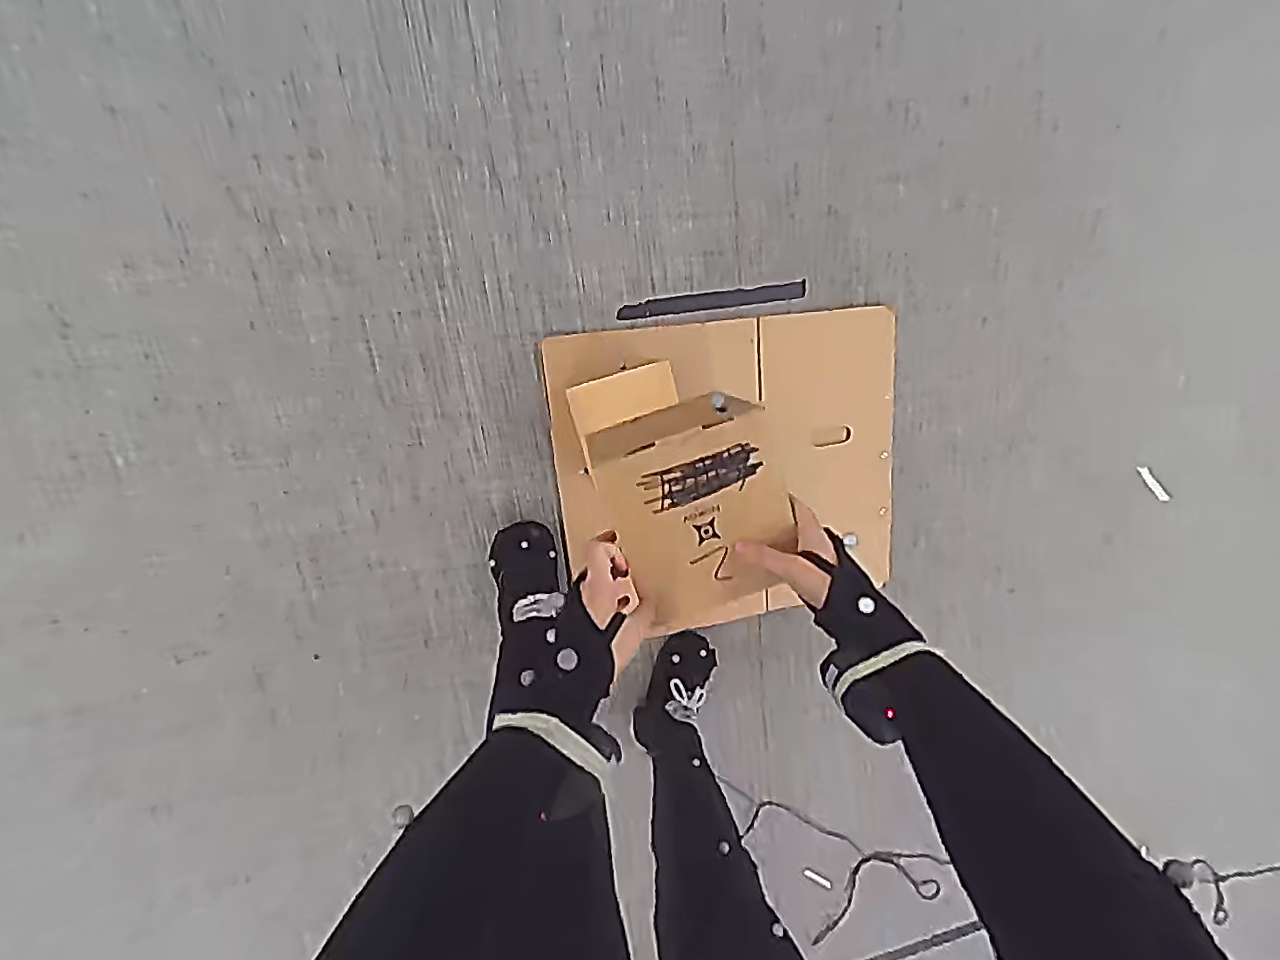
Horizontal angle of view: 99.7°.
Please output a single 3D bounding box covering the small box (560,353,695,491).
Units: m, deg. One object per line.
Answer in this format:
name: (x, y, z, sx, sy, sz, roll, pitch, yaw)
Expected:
small box: (-0.028, -0.104, 0.894, 0.168, 0.176, 0.179, -18, 108, -8)
